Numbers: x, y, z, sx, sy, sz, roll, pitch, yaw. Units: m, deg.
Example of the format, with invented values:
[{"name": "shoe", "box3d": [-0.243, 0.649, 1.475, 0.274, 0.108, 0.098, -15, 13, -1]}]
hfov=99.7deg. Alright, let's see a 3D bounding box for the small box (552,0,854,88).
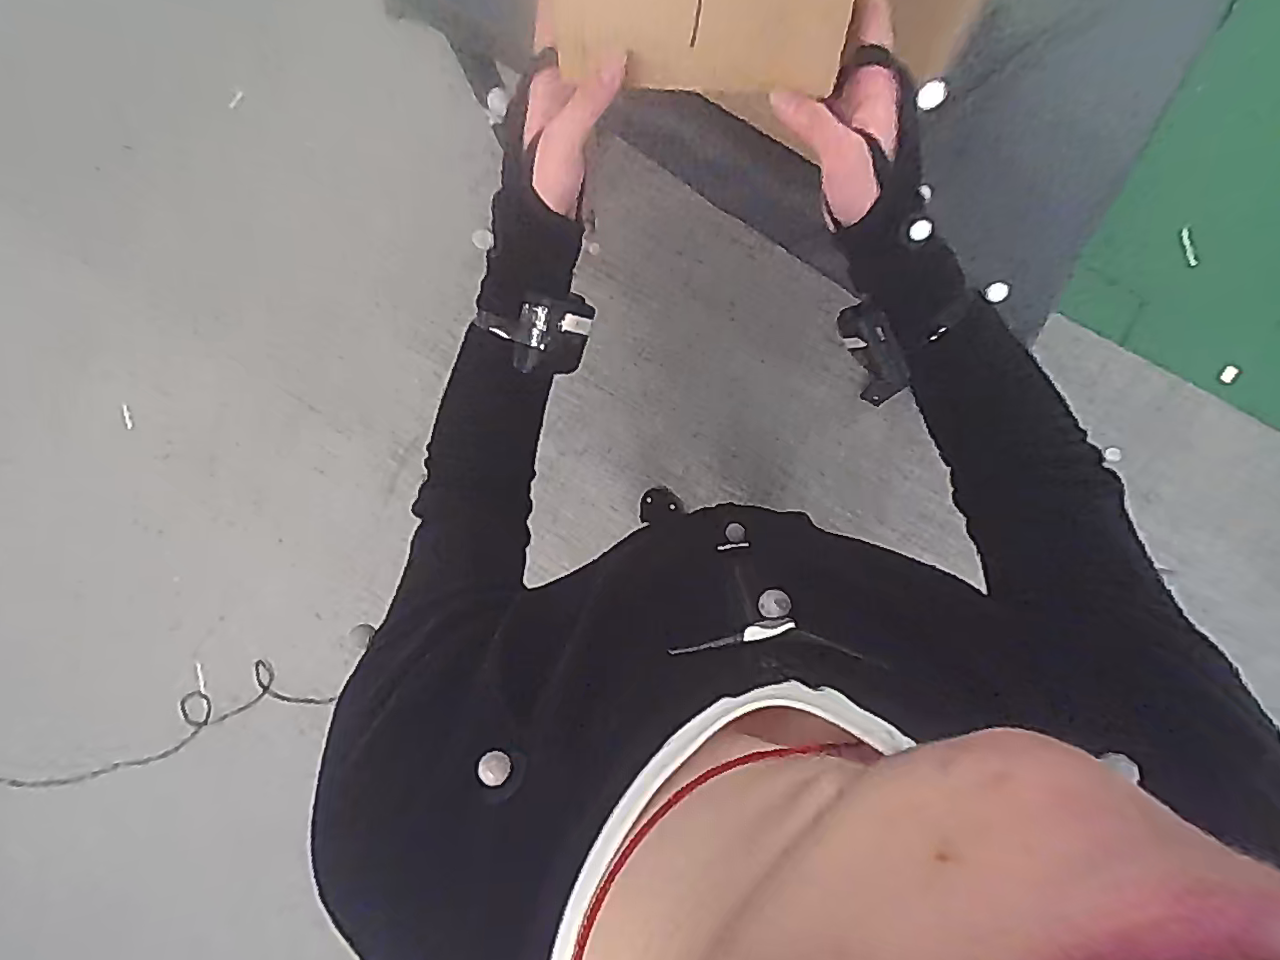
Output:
[{"name": "small box", "box3d": [0.042, -0.353, 0.294, 0.168, 0.179, 0.176, 6, 57, 3]}]
